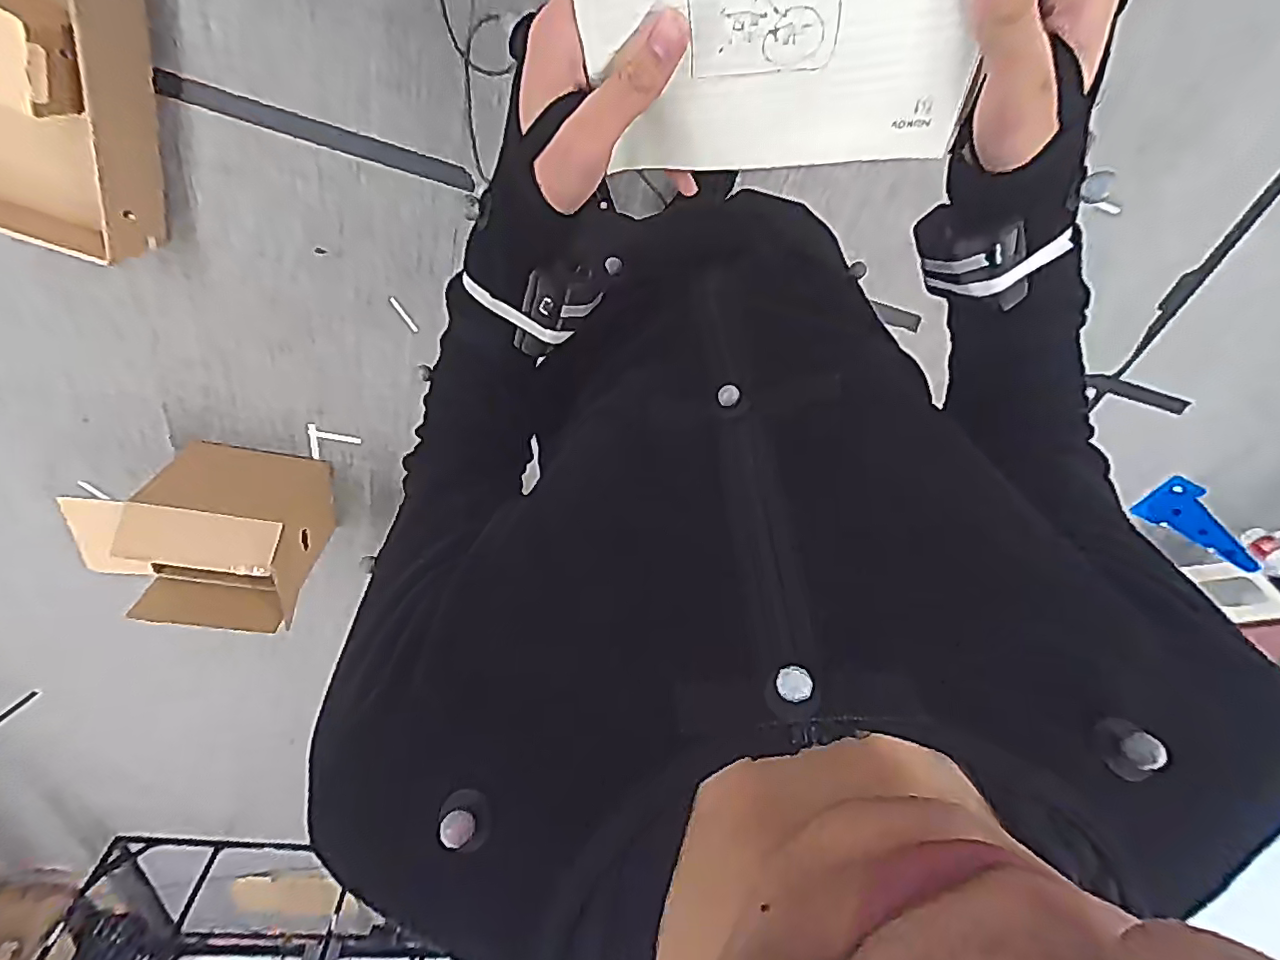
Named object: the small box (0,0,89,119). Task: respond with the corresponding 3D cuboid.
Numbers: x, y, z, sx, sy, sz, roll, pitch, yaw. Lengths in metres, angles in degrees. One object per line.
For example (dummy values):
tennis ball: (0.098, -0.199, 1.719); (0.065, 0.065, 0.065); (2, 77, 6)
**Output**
small box: (-1.196, -0.822, 1.017); (0.179, 0.176, 0.168); (23, 123, -20)
